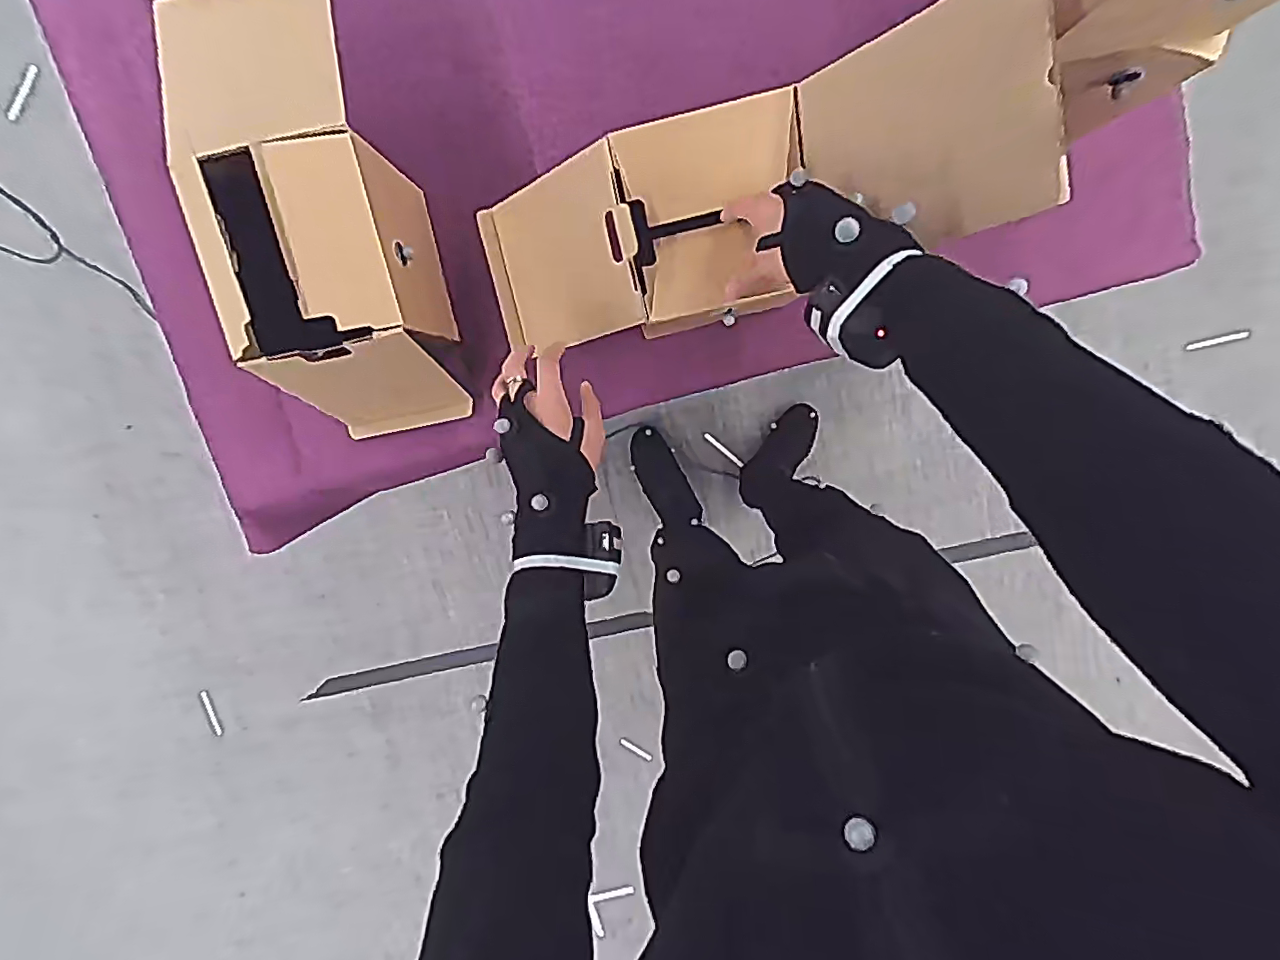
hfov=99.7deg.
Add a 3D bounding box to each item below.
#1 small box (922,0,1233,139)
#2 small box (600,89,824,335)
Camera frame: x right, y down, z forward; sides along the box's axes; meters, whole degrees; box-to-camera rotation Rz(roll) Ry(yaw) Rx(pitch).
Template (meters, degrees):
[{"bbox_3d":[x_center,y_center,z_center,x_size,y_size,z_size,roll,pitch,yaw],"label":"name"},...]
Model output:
[{"bbox_3d":[0.415,-0.460,0.519,0.179,0.176,0.168,11,100,-2],"label":"small box"},{"bbox_3d":[0.067,-0.253,0.558,0.179,0.176,0.168,-13,100,3],"label":"small box"}]
